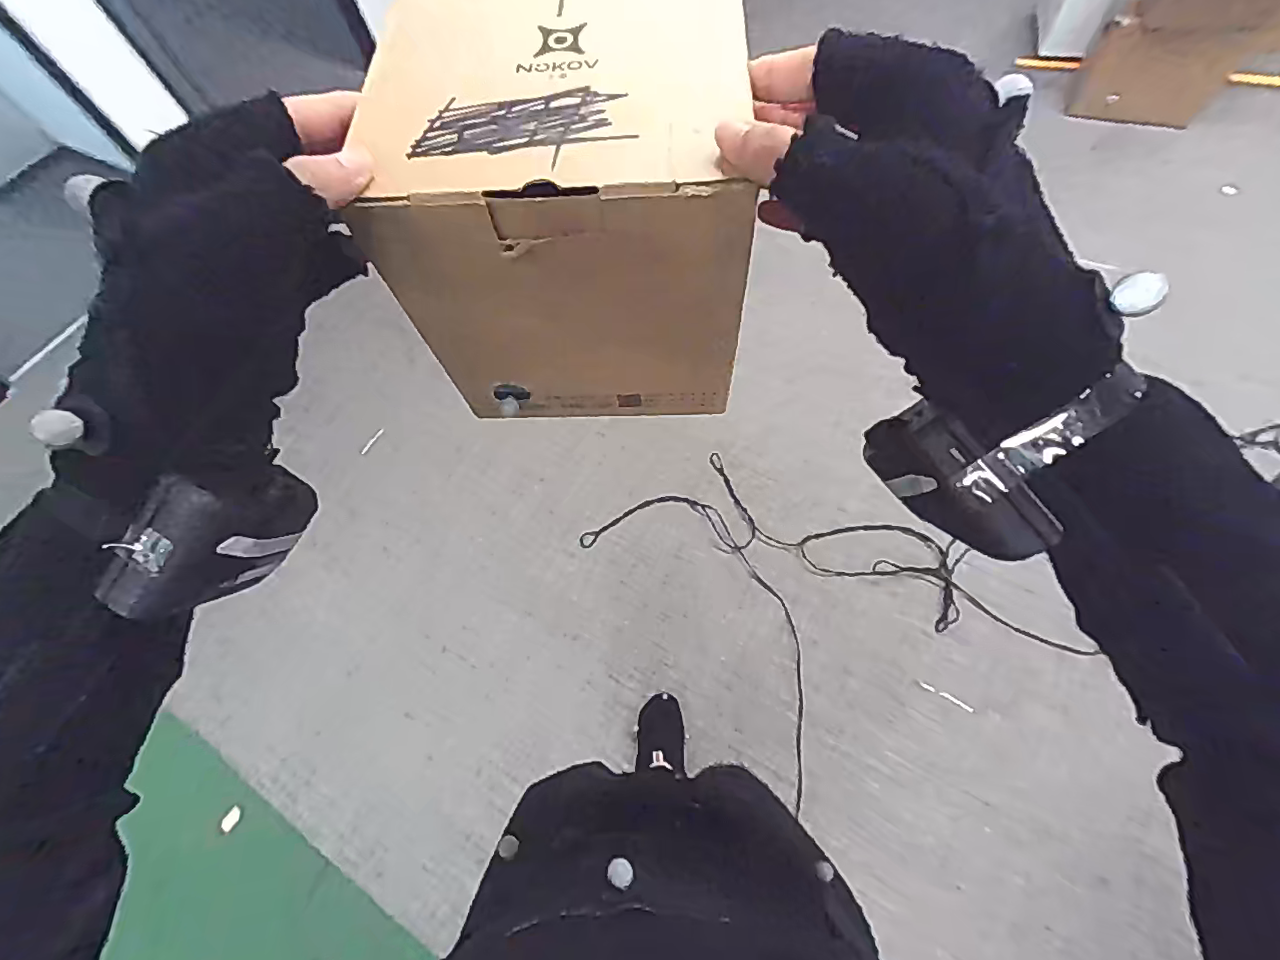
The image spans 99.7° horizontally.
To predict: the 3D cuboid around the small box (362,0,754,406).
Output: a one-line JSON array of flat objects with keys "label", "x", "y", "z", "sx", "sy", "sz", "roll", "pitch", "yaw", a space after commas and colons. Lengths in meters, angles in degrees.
[{"label": "small box", "x": -0.026, "y": -0.155, "z": 0.321, "sx": 0.168, "sy": 0.176, "sz": 0.179, "roll": 0, "pitch": 66, "yaw": 4}]
